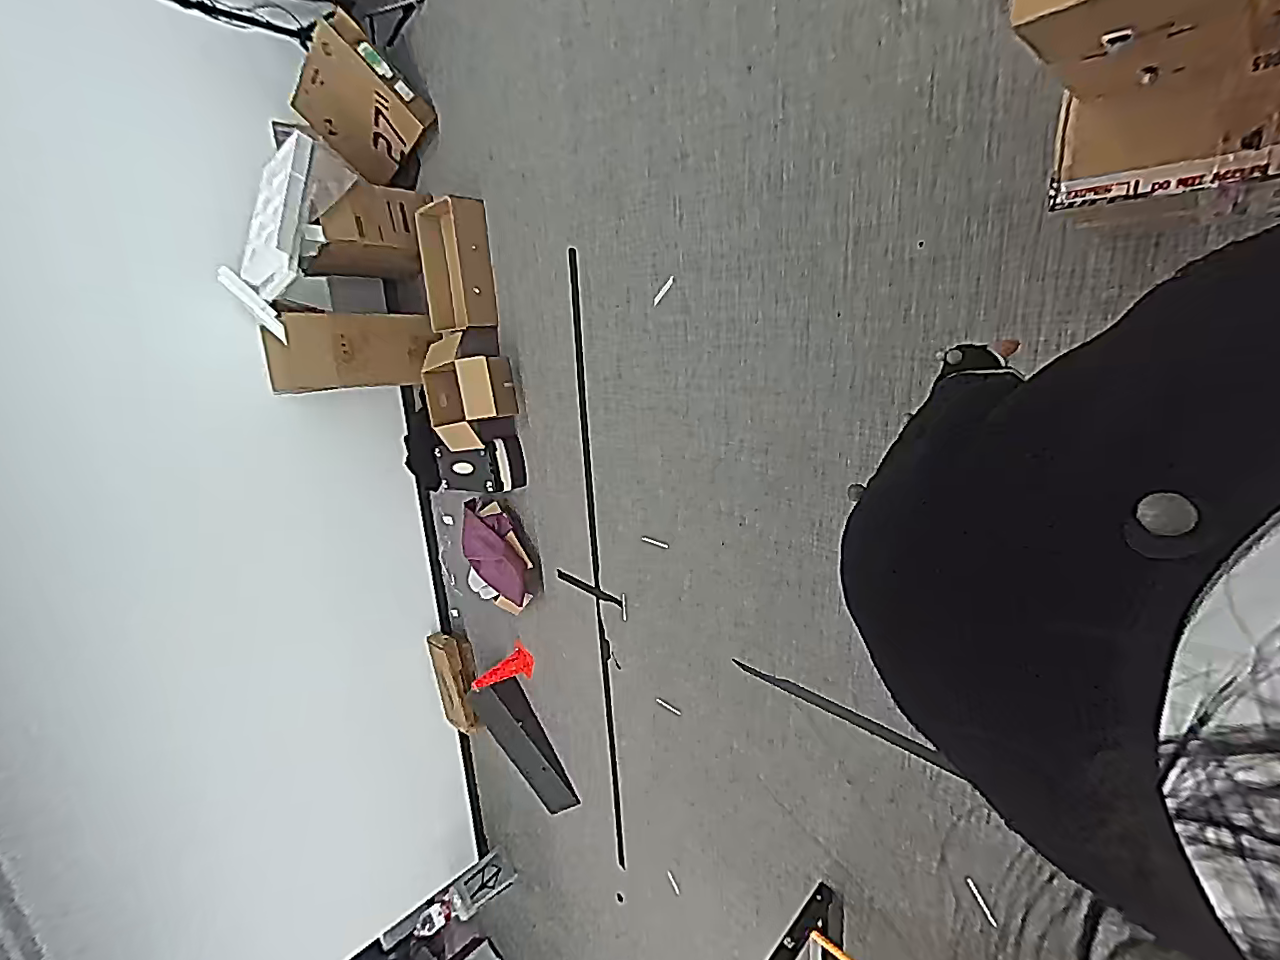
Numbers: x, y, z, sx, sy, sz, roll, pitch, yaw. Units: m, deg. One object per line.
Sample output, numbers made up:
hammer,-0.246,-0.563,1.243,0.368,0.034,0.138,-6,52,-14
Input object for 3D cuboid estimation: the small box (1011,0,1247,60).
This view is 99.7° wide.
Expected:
small box,0.477,-0.539,0.504,0.168,0.176,0.179,15,115,46

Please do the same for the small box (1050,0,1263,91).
small box,0.594,-0.579,0.610,0.168,0.176,0.179,15,115,46
